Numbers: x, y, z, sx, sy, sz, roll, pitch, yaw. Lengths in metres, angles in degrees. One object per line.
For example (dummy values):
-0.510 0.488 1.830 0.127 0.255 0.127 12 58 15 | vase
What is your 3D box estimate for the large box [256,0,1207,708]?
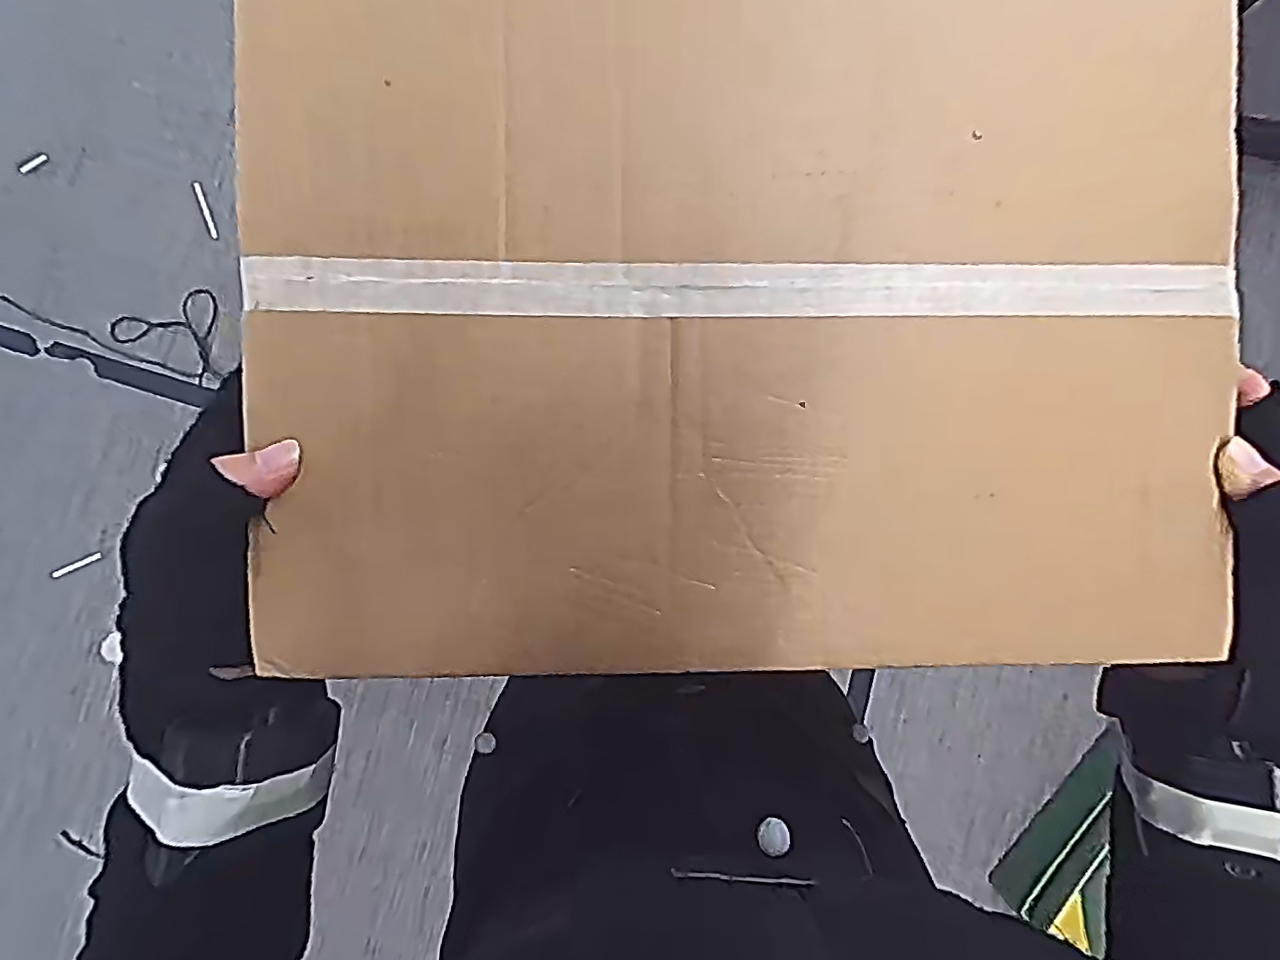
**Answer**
0.041 -0.066 0.378 0.408 0.320 0.320 -1 91 -2 | large box
